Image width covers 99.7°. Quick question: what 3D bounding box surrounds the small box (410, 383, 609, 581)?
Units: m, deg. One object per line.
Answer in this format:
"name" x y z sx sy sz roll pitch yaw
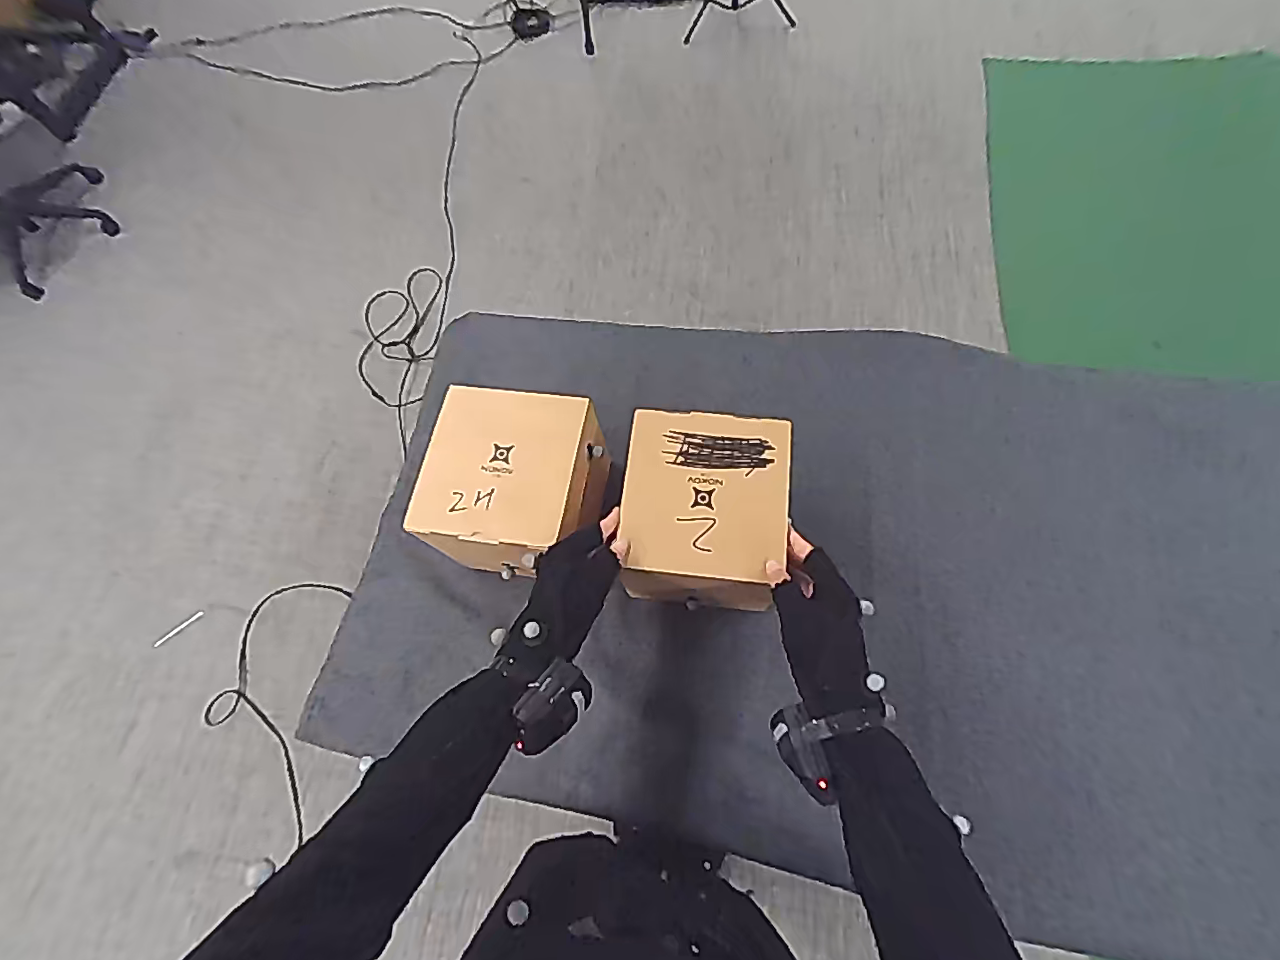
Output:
"small box" -0.137 0.008 0.649 0.168 0.176 0.179 7 69 9
